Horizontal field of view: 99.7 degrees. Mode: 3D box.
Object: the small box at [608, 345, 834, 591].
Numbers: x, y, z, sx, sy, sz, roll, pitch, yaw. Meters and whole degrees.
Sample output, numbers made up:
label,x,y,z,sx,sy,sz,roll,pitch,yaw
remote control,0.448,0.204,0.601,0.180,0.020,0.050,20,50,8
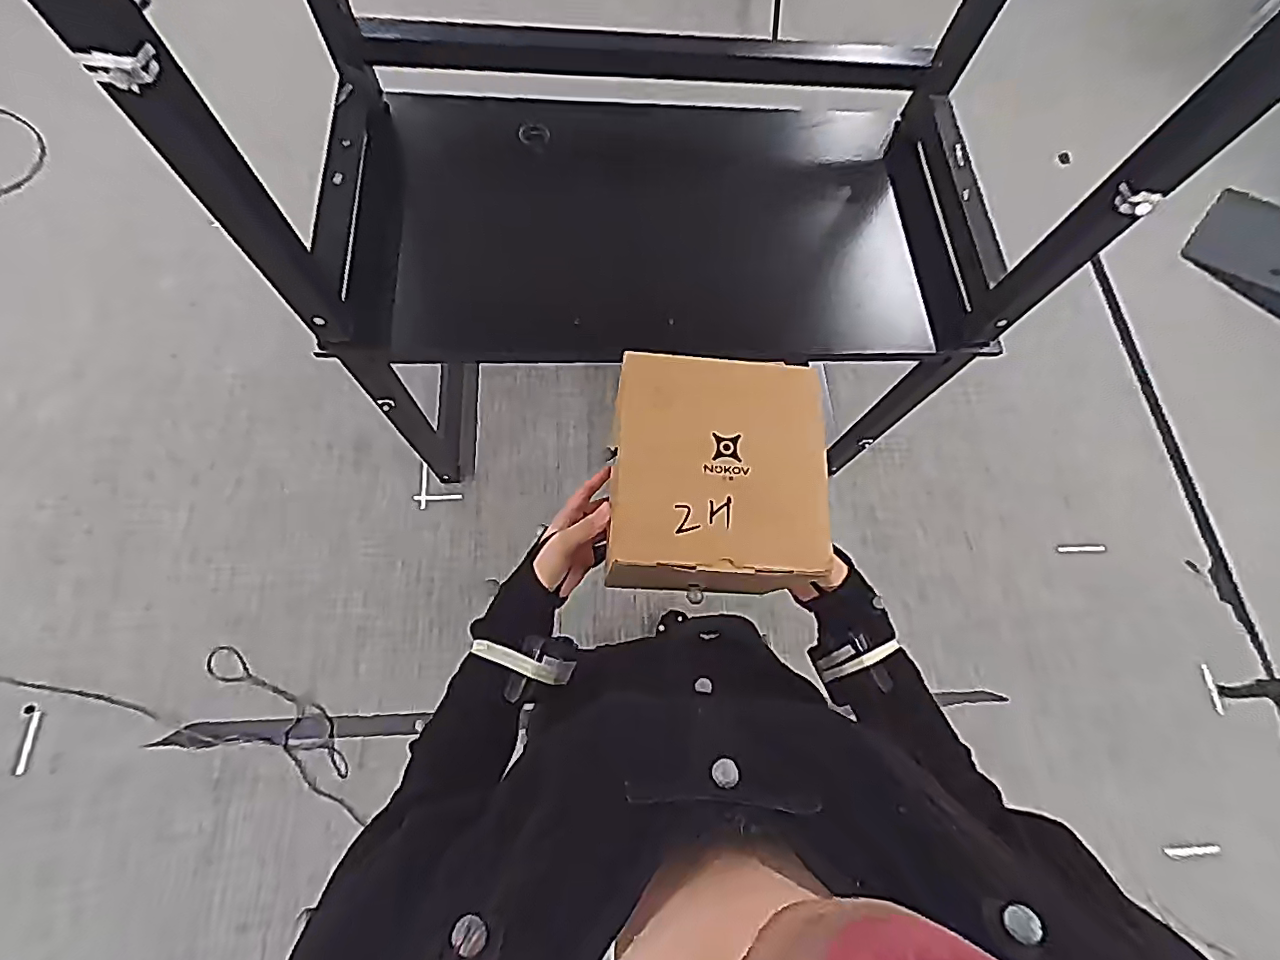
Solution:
label,x,y,z,sx,sy,sz,roll,pitch,yaw
small box,0.059,0.002,0.496,0.168,0.176,0.179,4,73,-5
